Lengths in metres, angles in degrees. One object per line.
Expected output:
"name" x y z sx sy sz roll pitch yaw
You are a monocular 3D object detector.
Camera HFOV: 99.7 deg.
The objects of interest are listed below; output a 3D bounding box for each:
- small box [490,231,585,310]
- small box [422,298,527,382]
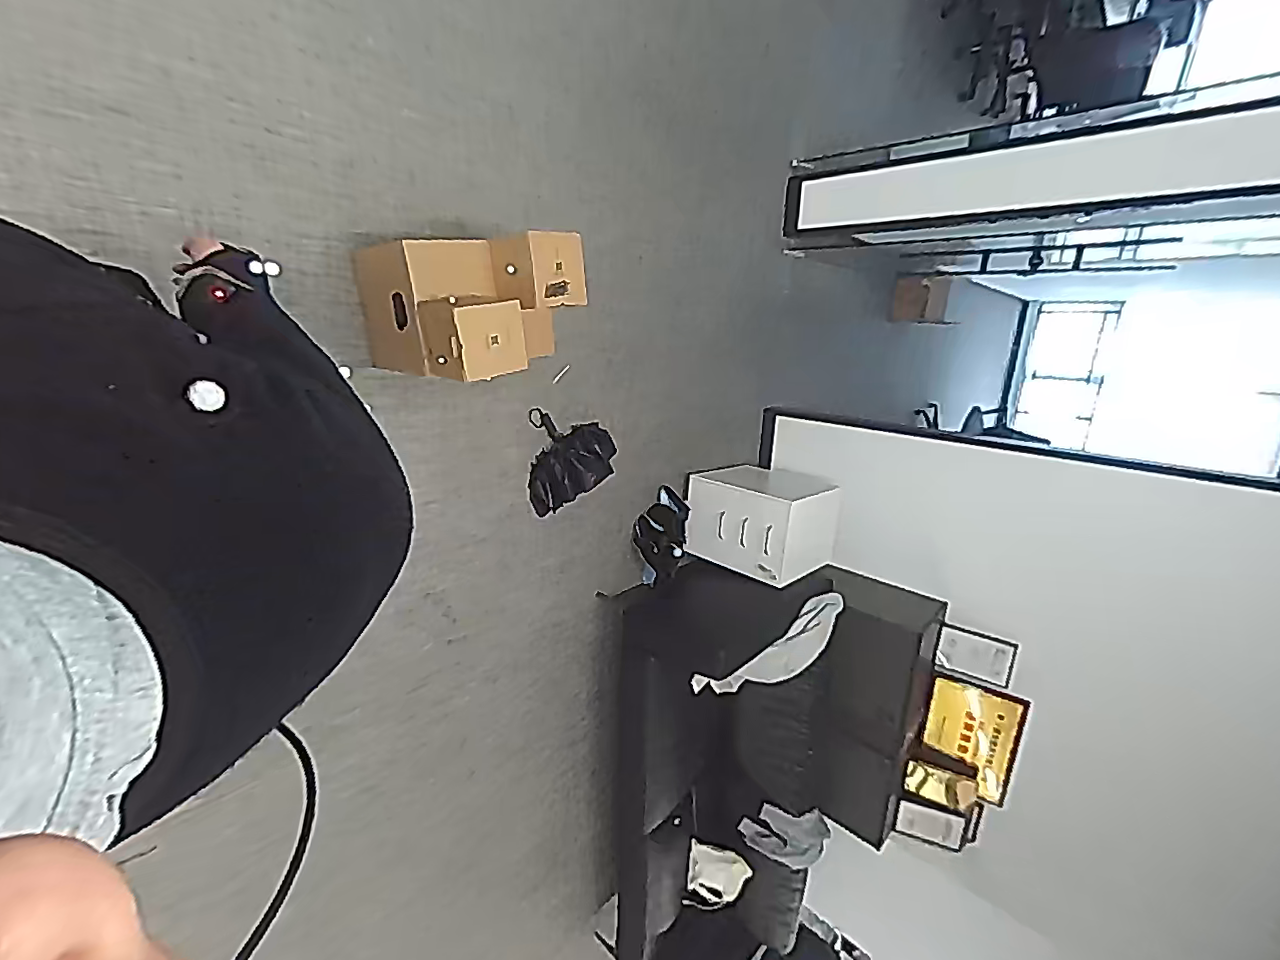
"small box" -0.262 -0.530 1.385 0.168 0.176 0.179 -22 115 -43
"small box" -0.398 -0.340 1.293 0.179 0.176 0.168 -28 125 -42
